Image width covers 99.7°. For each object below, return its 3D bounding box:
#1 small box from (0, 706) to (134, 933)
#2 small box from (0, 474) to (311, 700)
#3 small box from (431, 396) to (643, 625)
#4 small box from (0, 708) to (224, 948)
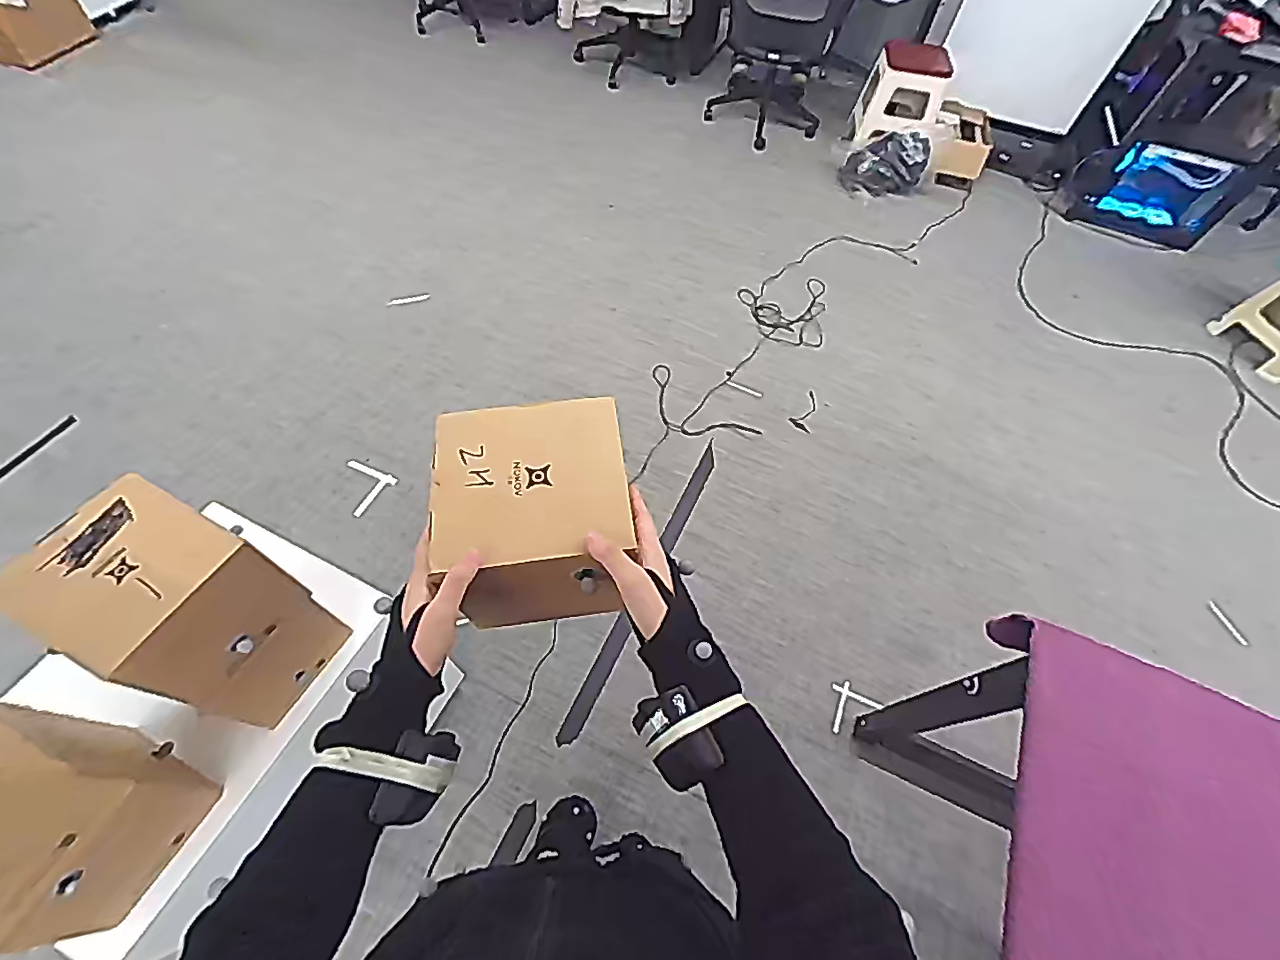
[{"bbox_3d":[-0.647,0.314,0.498,0.179,0.176,0.168,23,59,10],"label":"small box"},{"bbox_3d":[-0.532,0.130,0.618,0.179,0.176,0.168,26,61,10],"label":"small box"},{"bbox_3d":[-0.095,0.037,0.551,0.179,0.176,0.168,-7,59,-4],"label":"small box"},{"bbox_3d":[-0.658,0.400,0.635,0.179,0.176,0.168,24,60,12],"label":"small box"}]
